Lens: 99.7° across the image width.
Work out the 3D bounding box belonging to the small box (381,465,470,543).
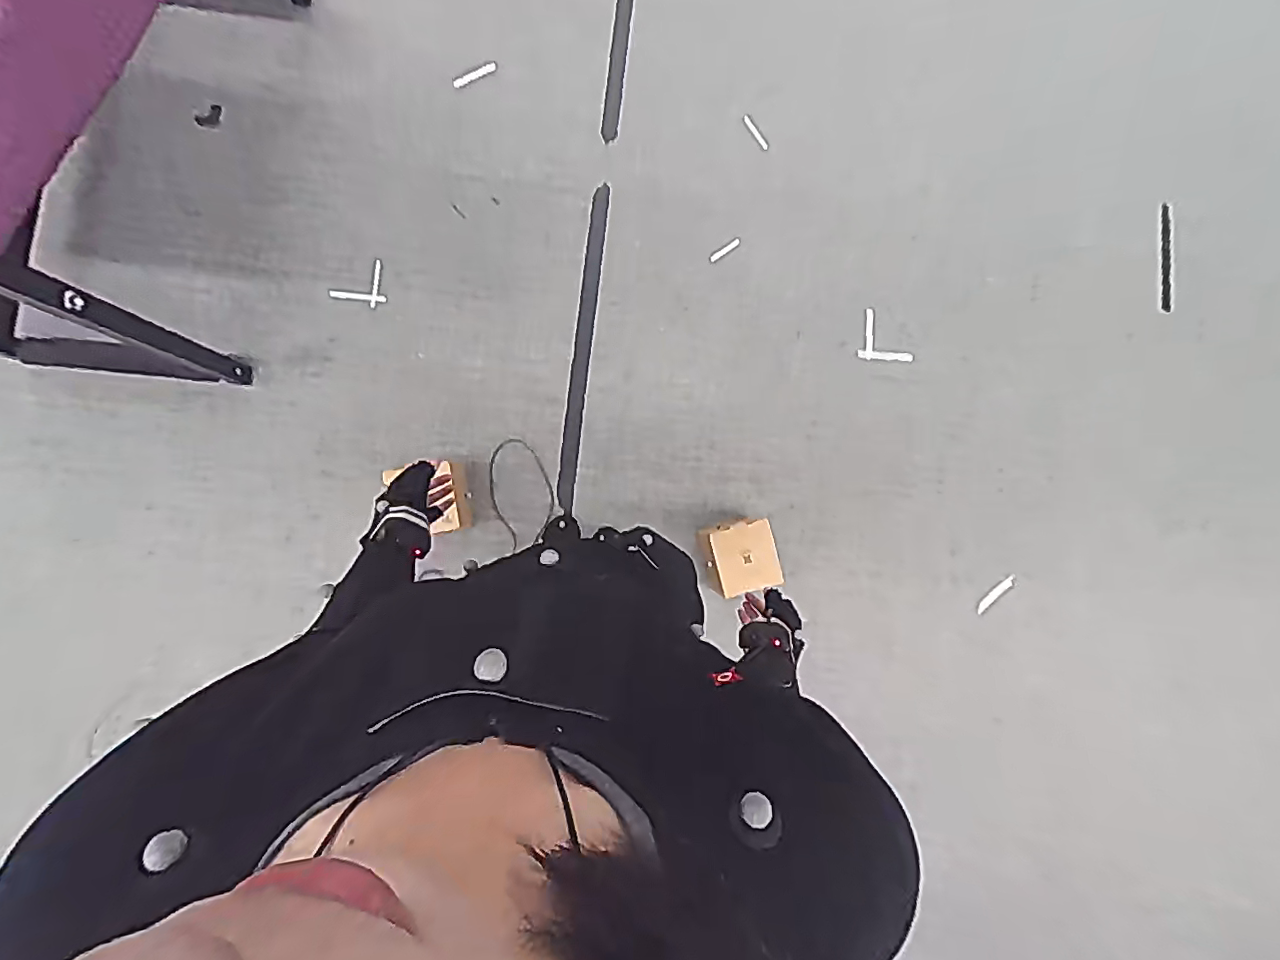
[{"bbox_3d":[-0.553,0.068,1.409,0.168,0.176,0.179,-10,85,-7],"label":"small box"}]

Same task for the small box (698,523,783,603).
[{"bbox_3d":[0.265,0.220,1.473,0.168,0.176,0.179,-14,87,-5],"label":"small box"}]
